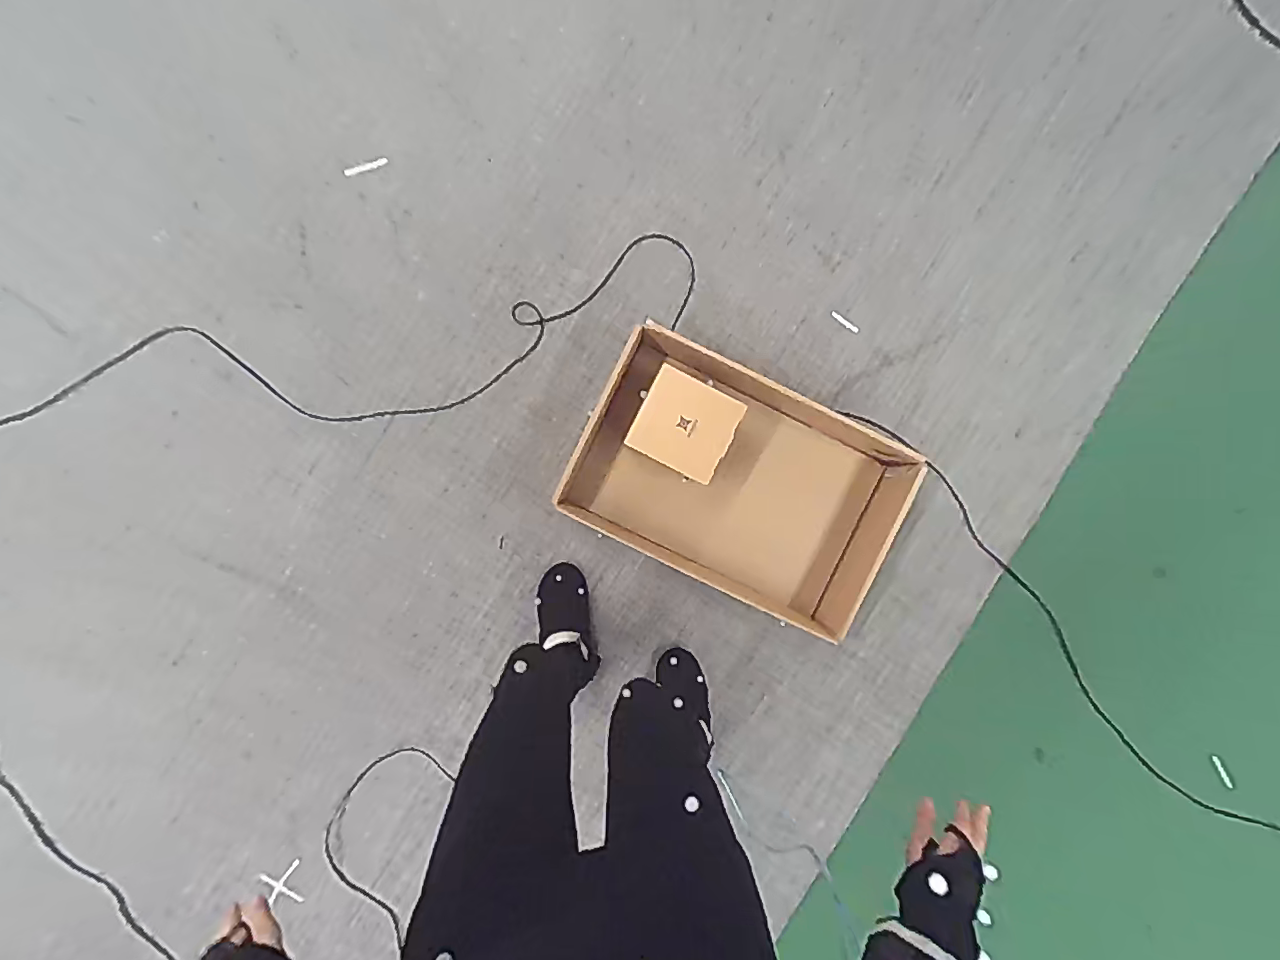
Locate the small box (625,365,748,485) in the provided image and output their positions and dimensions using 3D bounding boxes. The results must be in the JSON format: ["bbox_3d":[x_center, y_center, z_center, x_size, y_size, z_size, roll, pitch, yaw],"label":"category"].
[{"bbox_3d":[0.082,-0.101,1.059,0.179,0.176,0.168,27,92,-3],"label":"small box"}]
